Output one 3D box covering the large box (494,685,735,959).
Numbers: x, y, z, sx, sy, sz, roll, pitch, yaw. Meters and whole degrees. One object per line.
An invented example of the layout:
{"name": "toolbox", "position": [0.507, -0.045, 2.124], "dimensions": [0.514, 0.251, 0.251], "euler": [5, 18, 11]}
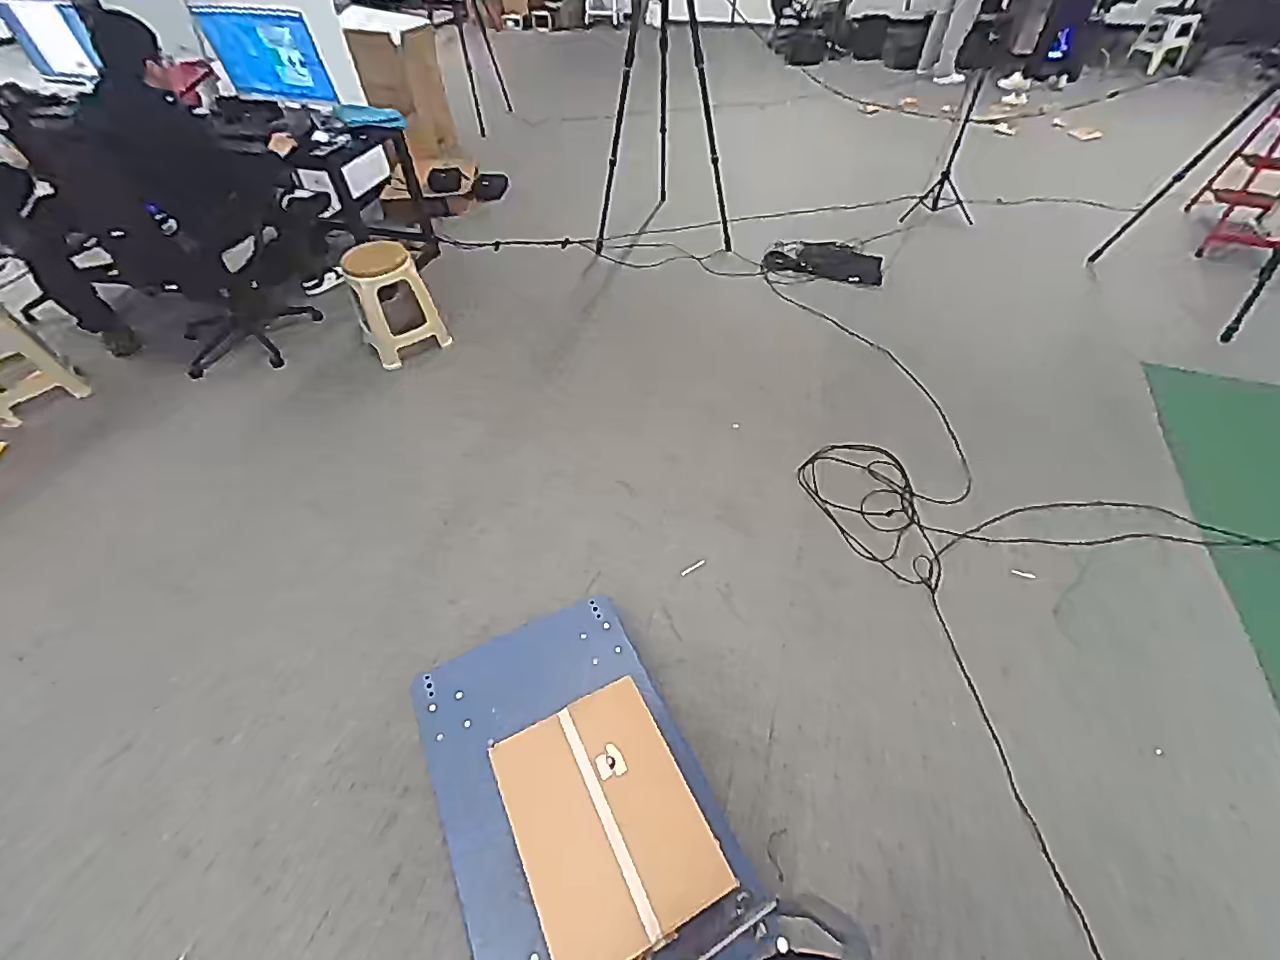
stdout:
{"name": "large box", "position": [-0.055, 0.716, 1.097], "dimensions": [0.320, 0.320, 0.408], "euler": [-22, 51, -17]}
